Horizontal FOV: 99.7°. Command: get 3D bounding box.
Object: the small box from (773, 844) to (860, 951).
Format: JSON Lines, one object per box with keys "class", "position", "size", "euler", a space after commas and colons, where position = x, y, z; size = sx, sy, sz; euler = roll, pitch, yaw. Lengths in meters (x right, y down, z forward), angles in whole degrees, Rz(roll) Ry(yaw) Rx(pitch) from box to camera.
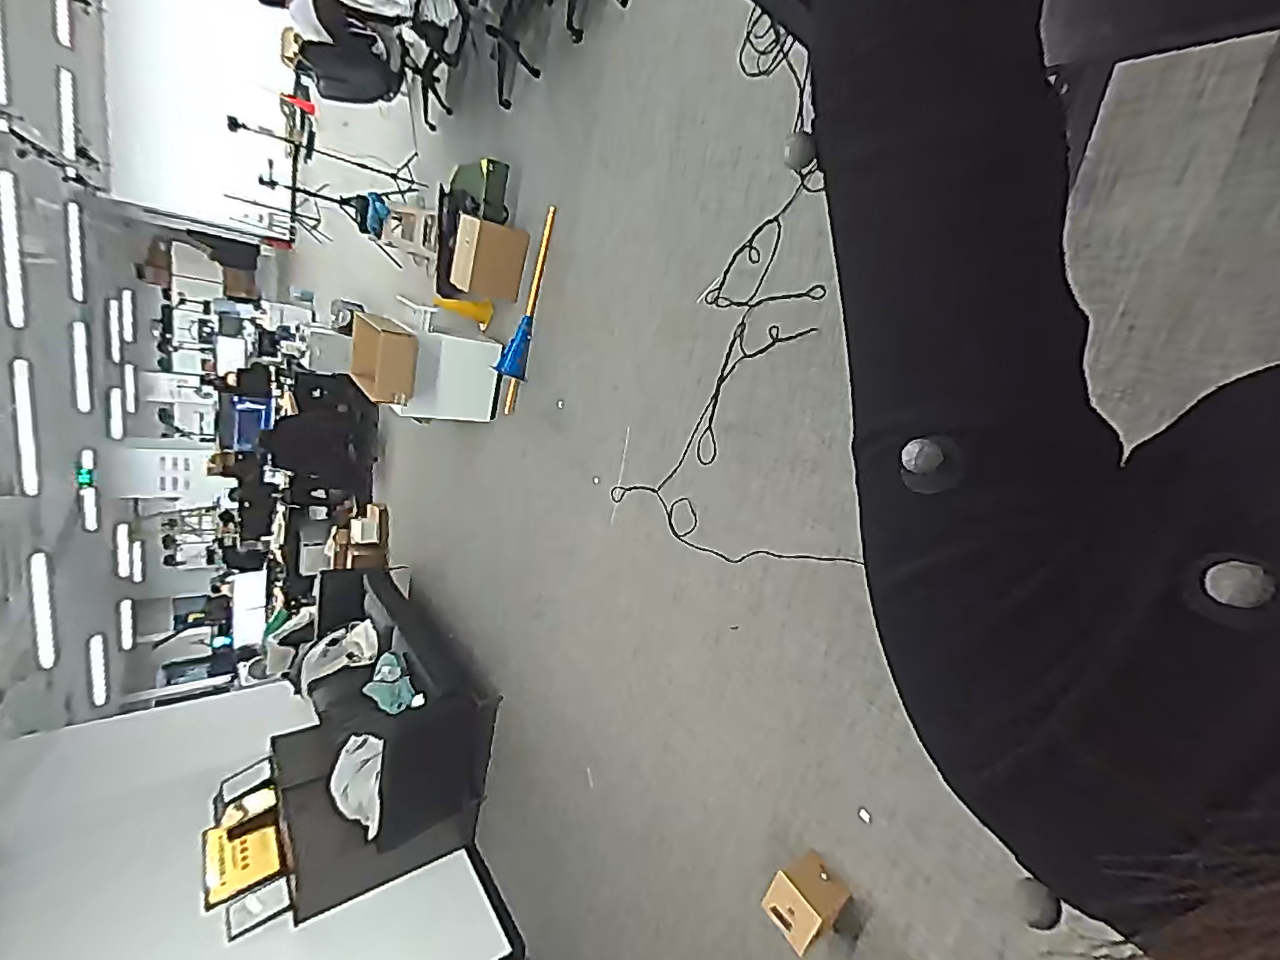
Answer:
{"class": "small box", "position": [0.555, 1.300, 1.693], "size": [0.168, 0.176, 0.179], "euler": [35, 116, 44]}
